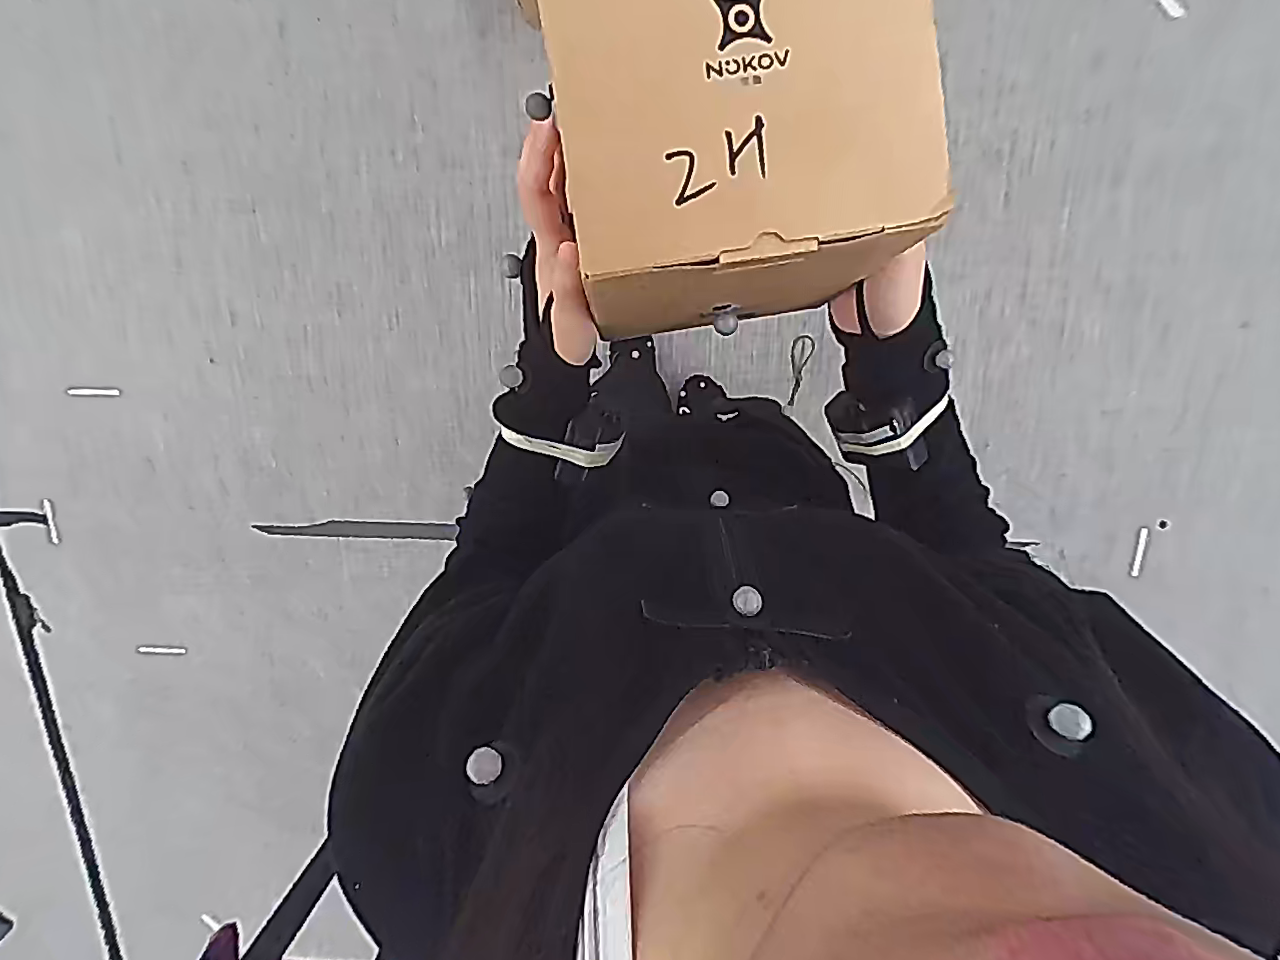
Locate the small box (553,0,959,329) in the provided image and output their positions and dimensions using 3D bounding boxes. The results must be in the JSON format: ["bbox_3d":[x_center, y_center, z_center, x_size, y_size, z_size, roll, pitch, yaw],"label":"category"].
[{"bbox_3d":[0.044,-0.198,0.307,0.168,0.176,0.179,-9,96,-1],"label":"small box"}]
